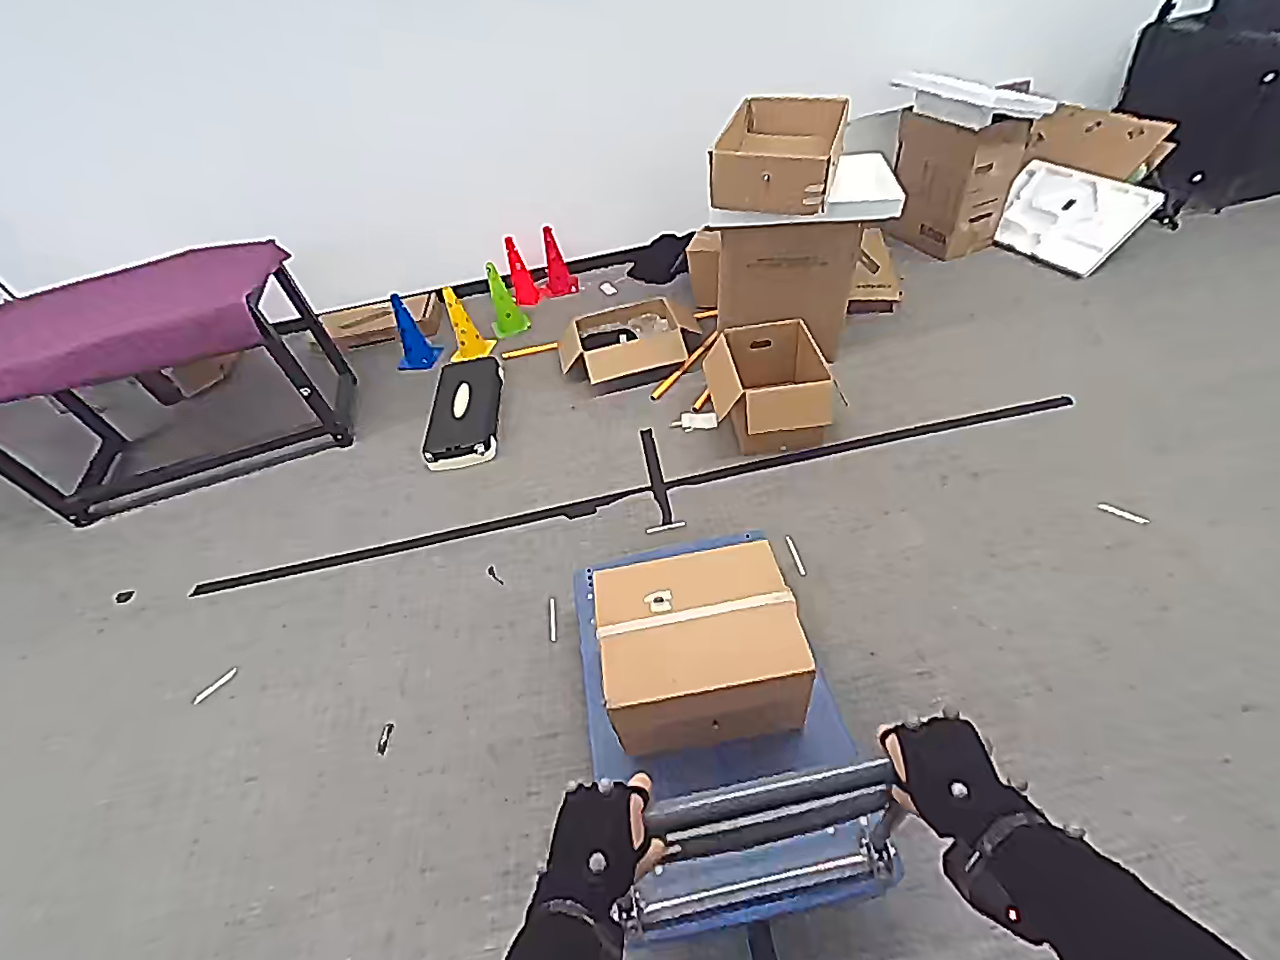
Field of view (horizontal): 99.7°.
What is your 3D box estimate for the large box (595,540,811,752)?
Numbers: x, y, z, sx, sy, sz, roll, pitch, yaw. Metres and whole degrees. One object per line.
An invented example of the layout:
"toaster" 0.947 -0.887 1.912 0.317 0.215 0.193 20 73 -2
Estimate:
"large box" 0.134 0.384 1.238 0.408 0.320 0.320 -11 45 1
